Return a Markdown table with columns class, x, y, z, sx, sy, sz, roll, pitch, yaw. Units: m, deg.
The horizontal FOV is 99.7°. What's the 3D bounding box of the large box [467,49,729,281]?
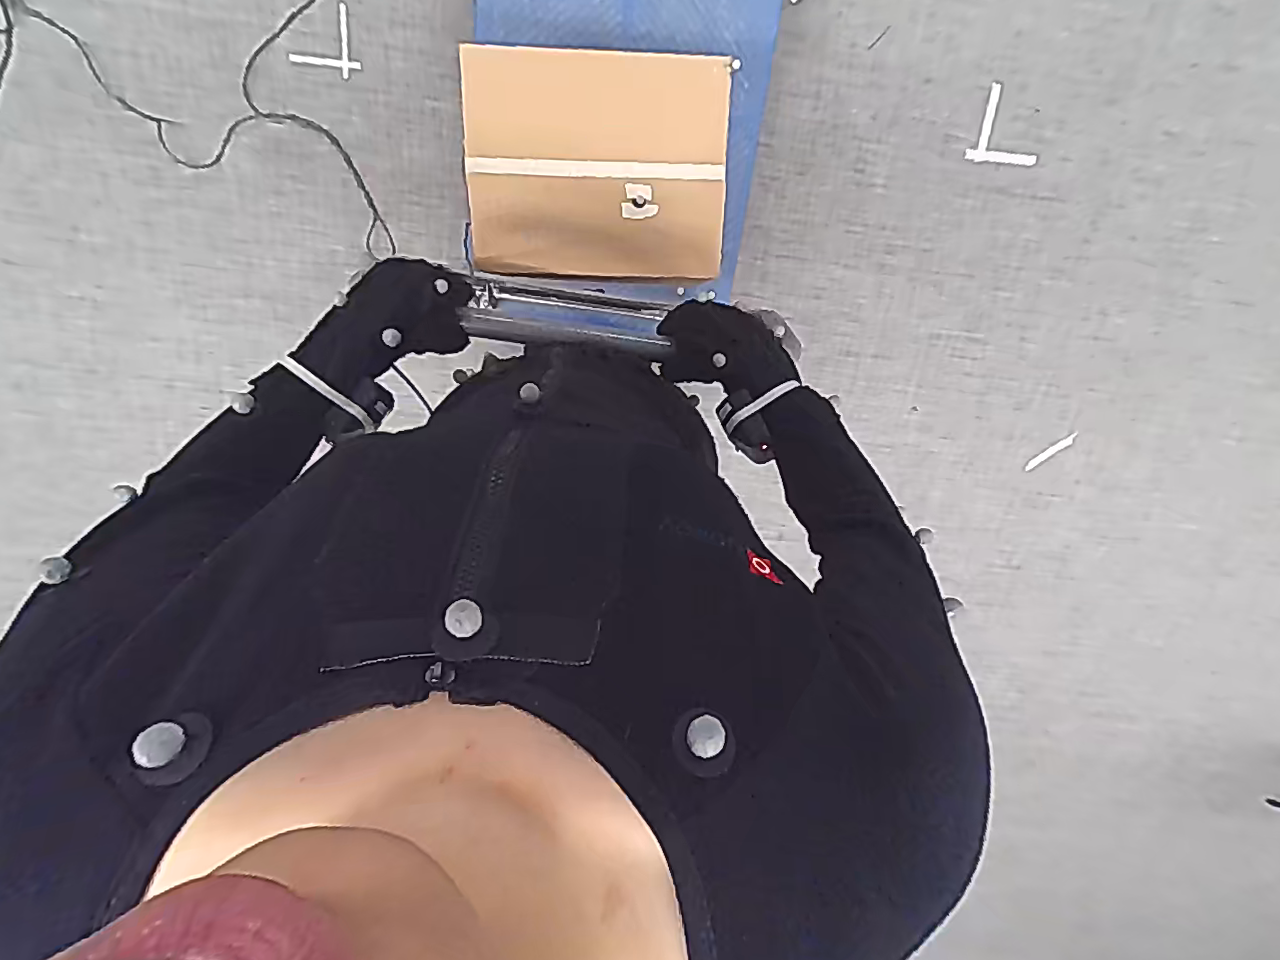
| class | x | y | z | sx | sy | sz | roll | pitch | yaw |
| --- | --- | --- | --- | --- | --- | --- | --- | --- | --- |
| large box | -0.072 | -0.542 | 1.002 | 0.408 | 0.320 | 0.320 | 0 | 108 | -4 |
